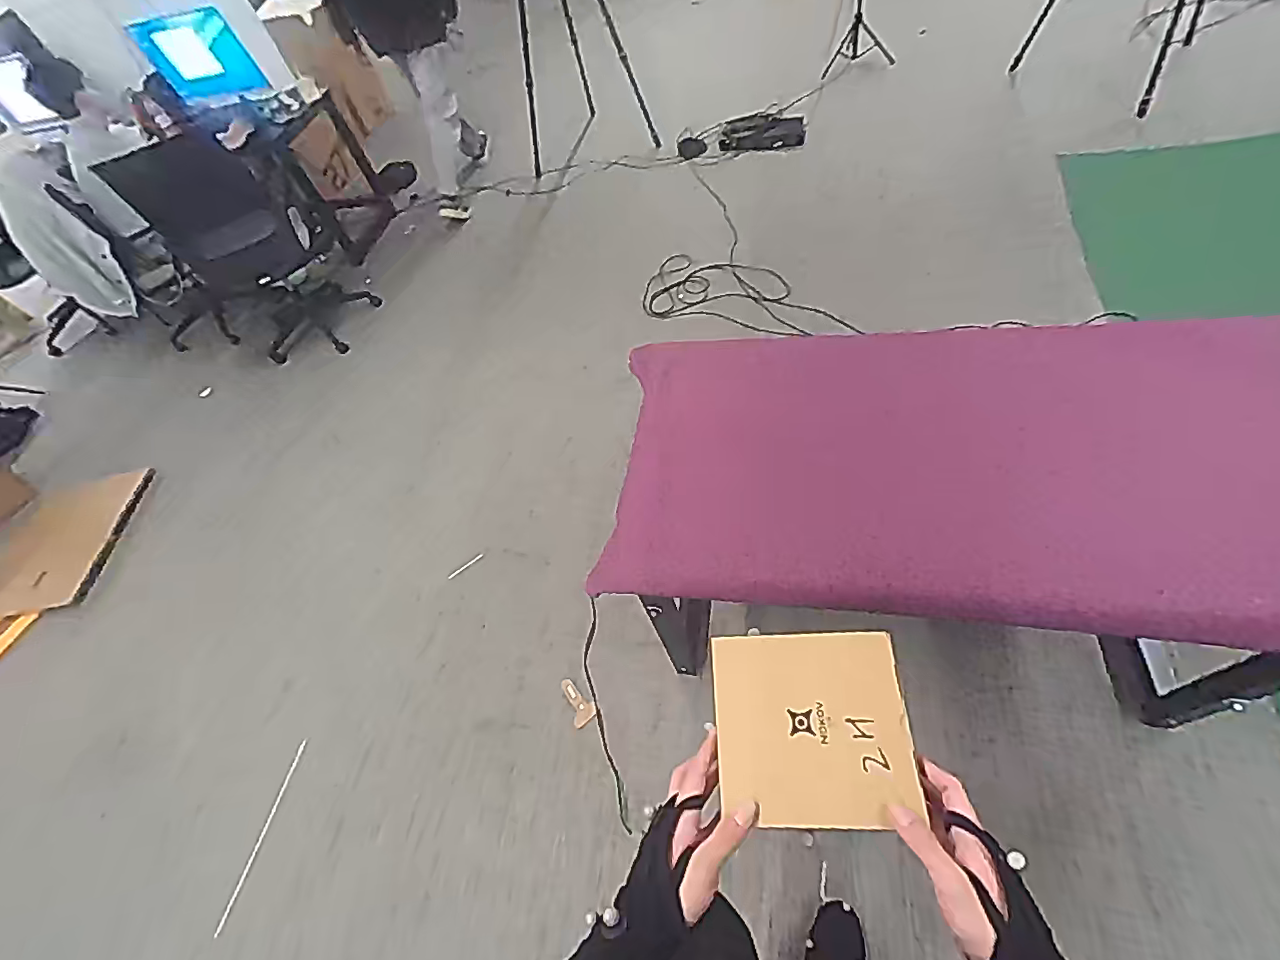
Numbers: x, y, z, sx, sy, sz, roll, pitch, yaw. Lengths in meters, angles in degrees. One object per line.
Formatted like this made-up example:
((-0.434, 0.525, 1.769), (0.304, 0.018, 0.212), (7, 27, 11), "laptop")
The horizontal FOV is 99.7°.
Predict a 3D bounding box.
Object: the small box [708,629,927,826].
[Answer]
((0.168, 0.260, 0.566), (0.179, 0.176, 0.168), (-4, 60, 9), "small box")
